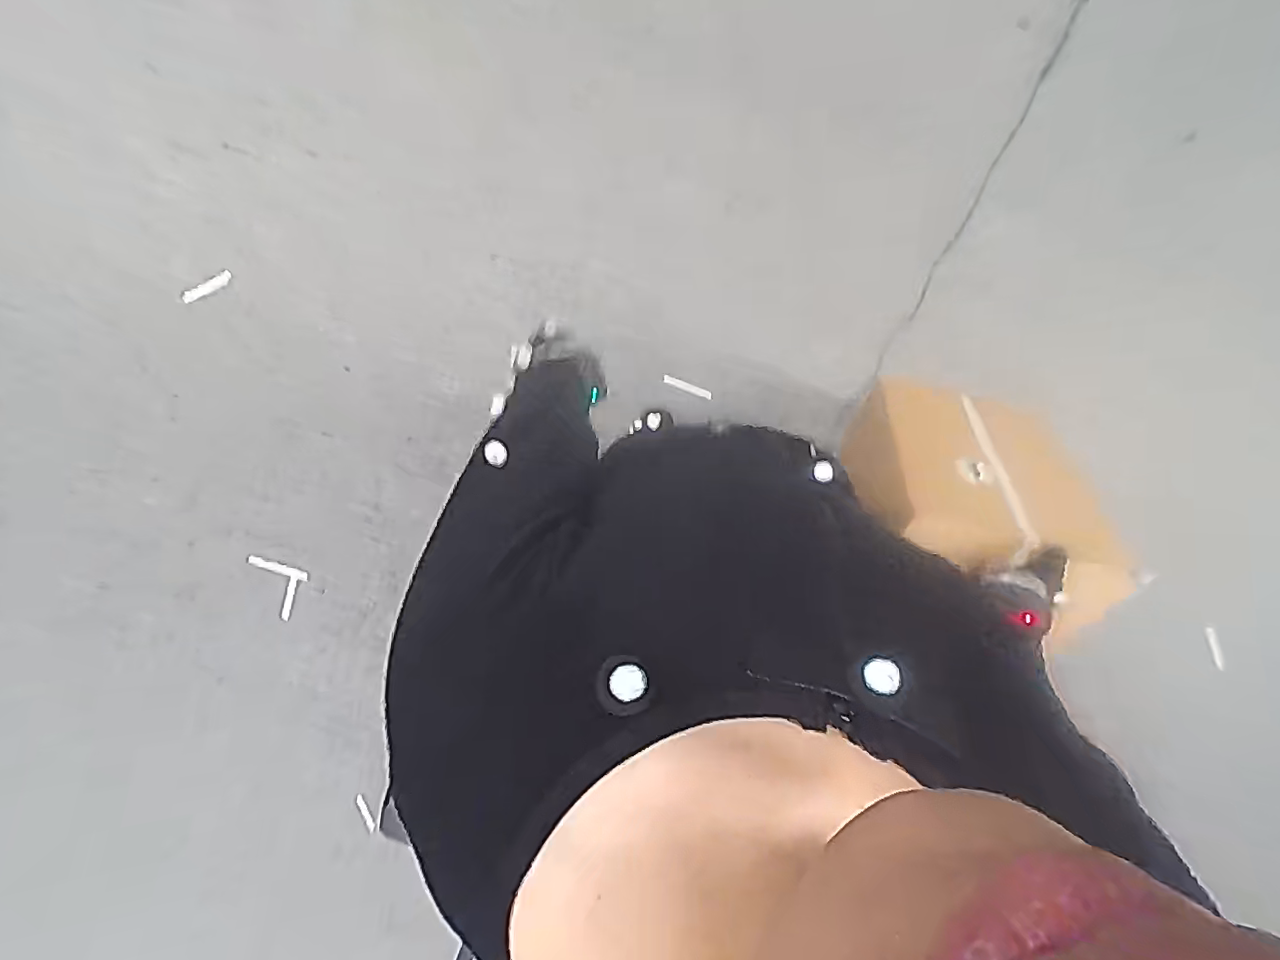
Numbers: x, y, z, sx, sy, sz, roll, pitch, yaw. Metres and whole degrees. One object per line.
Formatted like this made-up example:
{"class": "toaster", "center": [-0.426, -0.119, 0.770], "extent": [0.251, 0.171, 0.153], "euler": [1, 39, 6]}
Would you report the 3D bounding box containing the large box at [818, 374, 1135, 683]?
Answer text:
{"class": "large box", "center": [0.530, 0.075, 0.970], "extent": [0.320, 0.408, 0.320], "euler": [16, 133, 4]}
